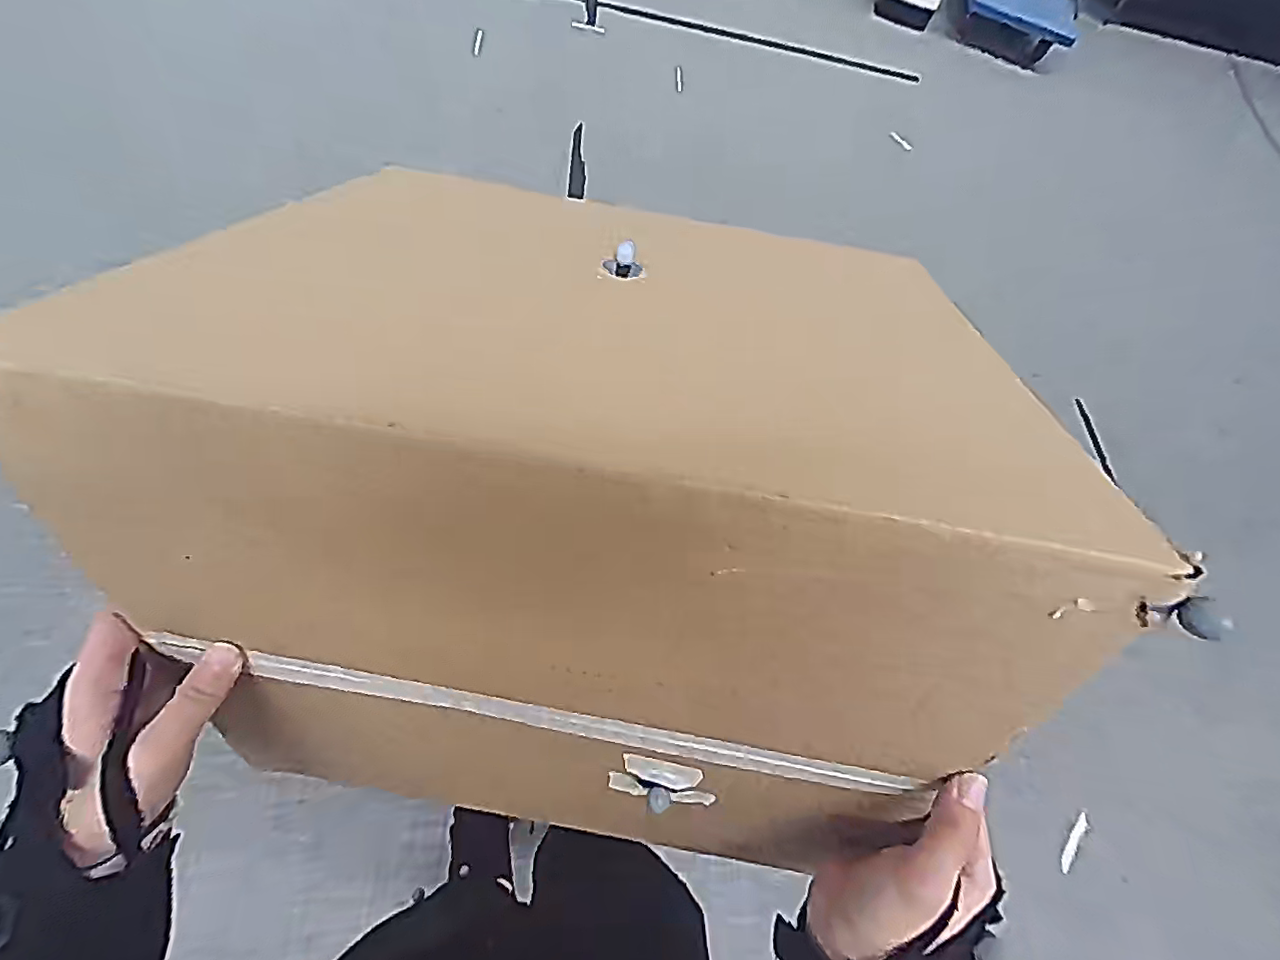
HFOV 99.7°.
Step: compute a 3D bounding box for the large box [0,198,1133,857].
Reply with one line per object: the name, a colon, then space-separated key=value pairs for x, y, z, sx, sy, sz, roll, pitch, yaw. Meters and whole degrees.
large box: x=-0.032 y=0.015 z=0.390 sx=0.408 sy=0.320 sz=0.320 roll=9 pitch=41 yaw=2
